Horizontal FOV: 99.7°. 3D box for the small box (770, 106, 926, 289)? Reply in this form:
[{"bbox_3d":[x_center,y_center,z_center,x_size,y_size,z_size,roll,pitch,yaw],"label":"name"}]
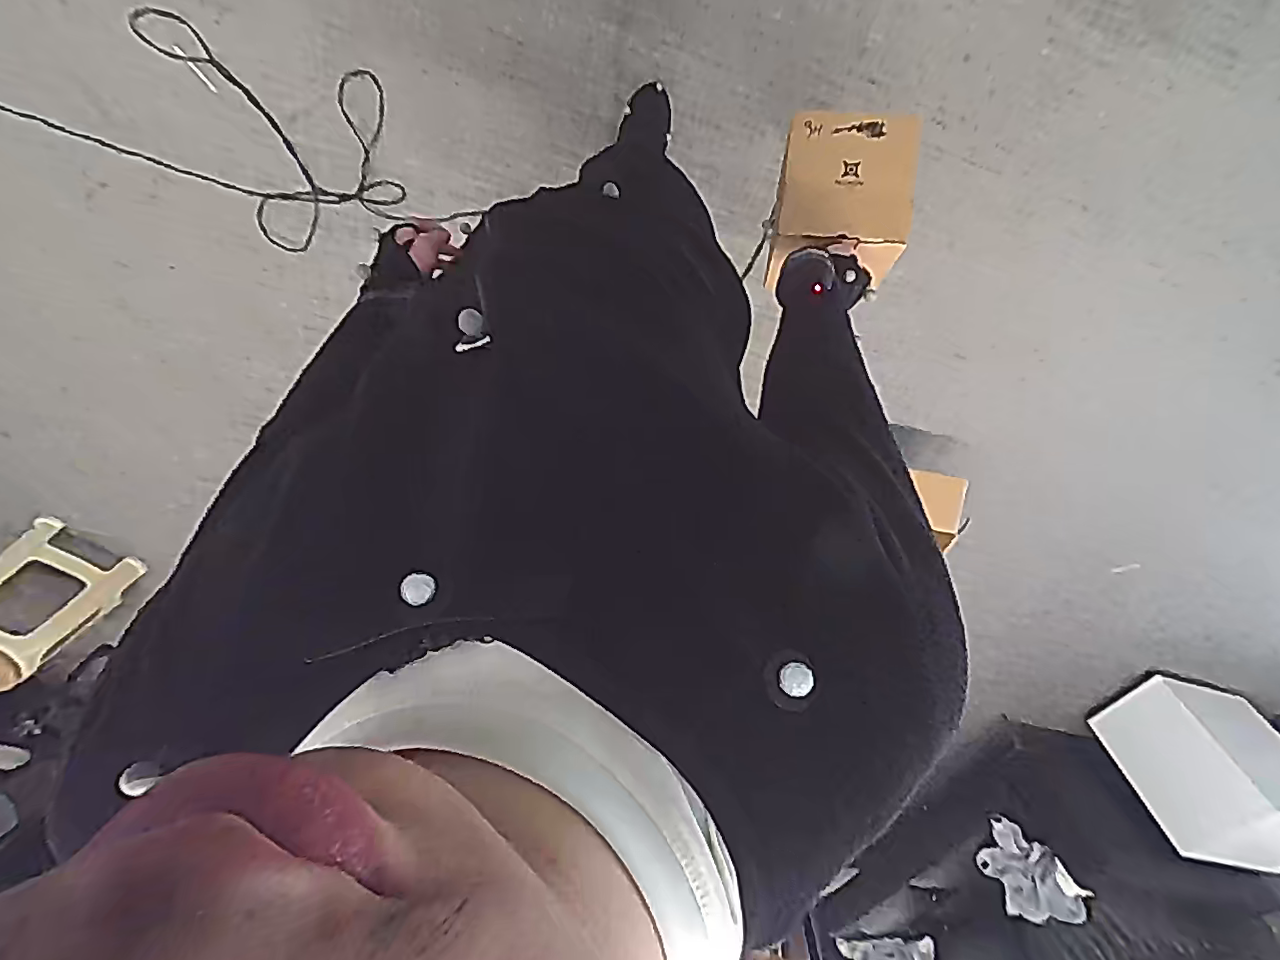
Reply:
[{"bbox_3d":[0.286,-0.394,0.779,0.168,0.176,0.179,8,87,8],"label":"small box"}]
